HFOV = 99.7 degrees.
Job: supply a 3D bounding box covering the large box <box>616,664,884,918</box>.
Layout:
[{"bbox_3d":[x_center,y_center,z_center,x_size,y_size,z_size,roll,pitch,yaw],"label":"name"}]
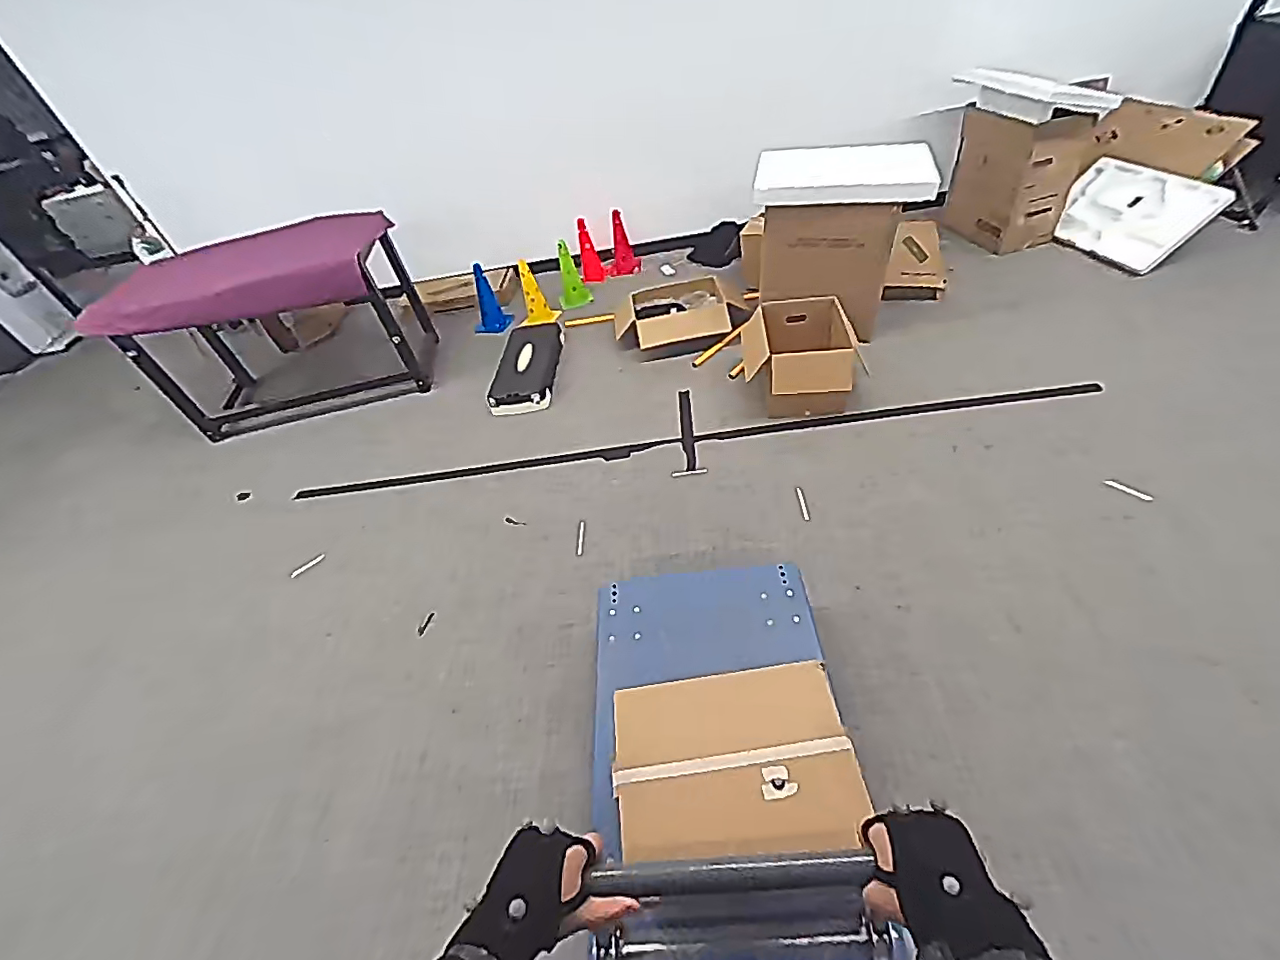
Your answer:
[{"bbox_3d":[0.183,0.598,1.038,0.408,0.320,0.320,-9,45,1],"label":"large box"}]
